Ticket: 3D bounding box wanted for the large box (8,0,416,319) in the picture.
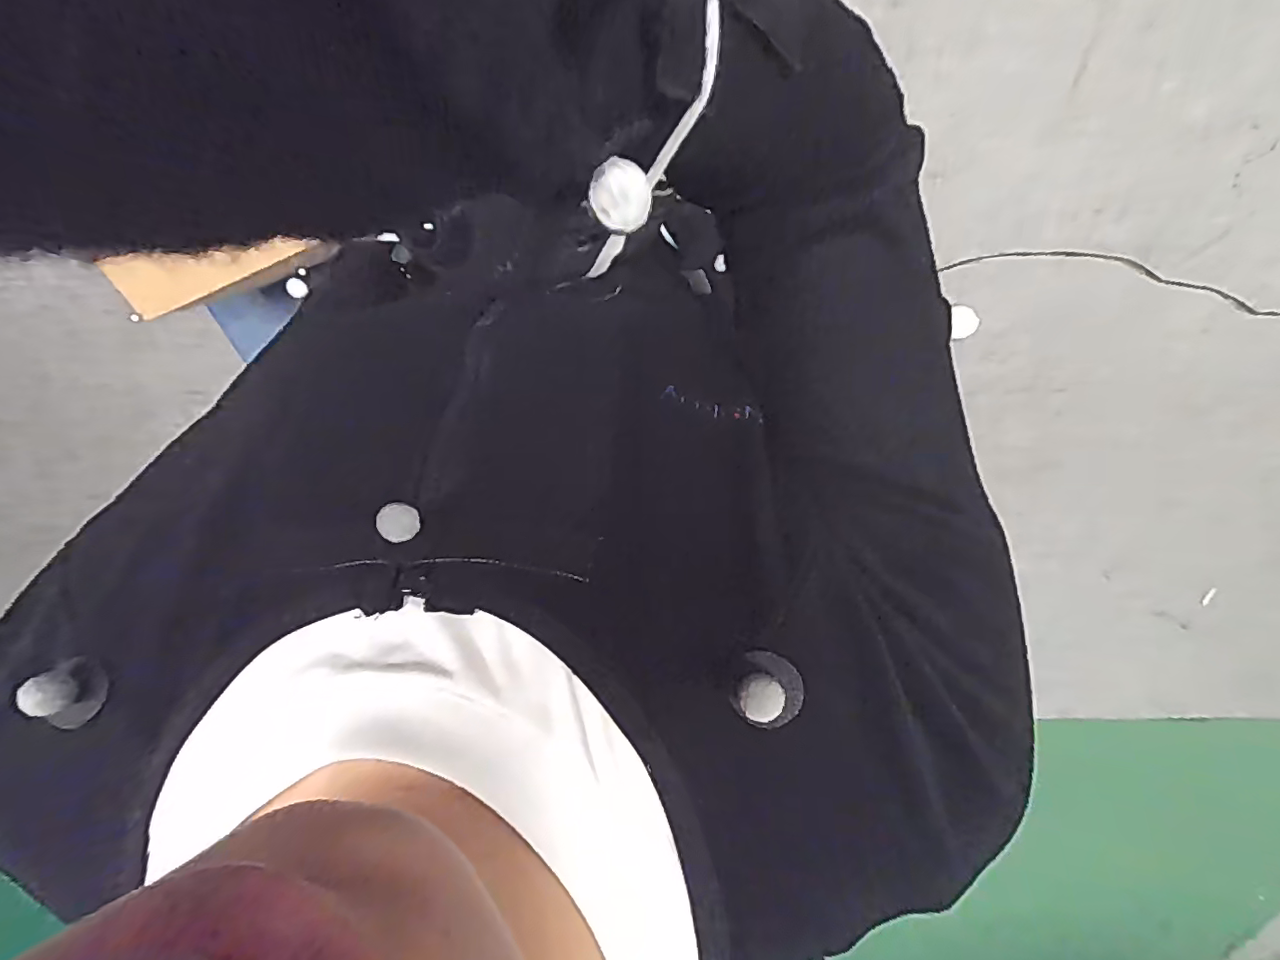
[{"bbox_3d":[-0.698,-0.535,0.958,0.408,0.320,0.320,-17,116,11],"label":"large box"}]
